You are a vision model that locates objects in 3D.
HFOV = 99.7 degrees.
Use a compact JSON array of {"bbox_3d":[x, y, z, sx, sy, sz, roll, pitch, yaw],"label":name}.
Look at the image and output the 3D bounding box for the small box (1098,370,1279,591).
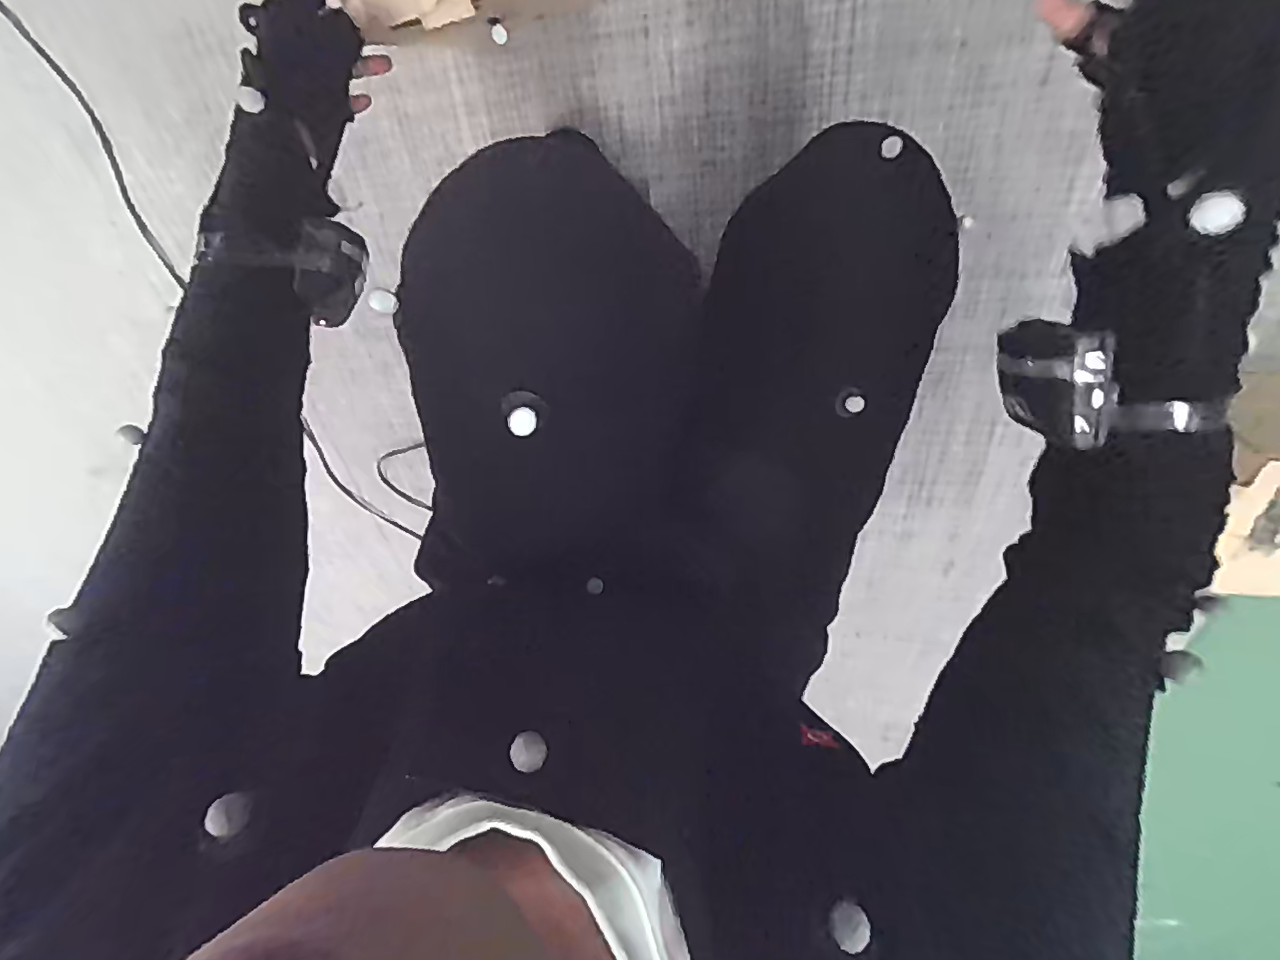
[{"bbox_3d":[0.636,-0.004,0.565,0.179,0.176,0.168,3,128,12],"label":"small box"}]
